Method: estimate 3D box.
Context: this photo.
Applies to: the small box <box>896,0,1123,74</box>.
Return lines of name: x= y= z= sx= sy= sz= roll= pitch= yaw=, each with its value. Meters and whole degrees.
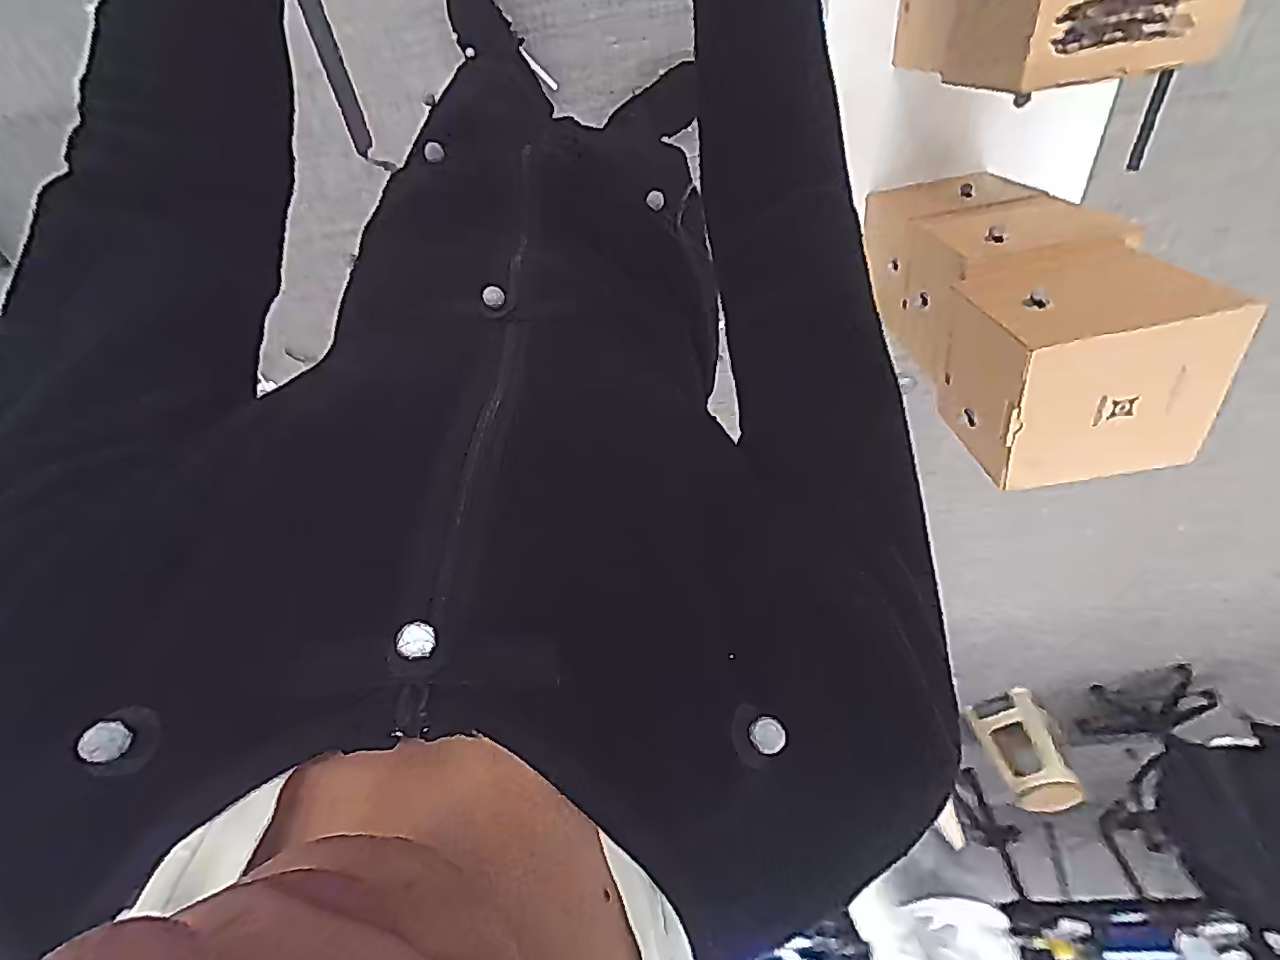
small box: x=0.412 y=-0.571 z=0.606 sx=0.179 sy=0.176 sz=0.168 roll=-6 pitch=130 yaw=5

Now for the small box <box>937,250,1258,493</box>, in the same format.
small box: x=0.431 y=-0.113 z=0.555 sx=0.179 sy=0.176 sz=0.168 roll=-11 pitch=128 yaw=9

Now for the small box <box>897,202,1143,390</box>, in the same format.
small box: x=0.442 y=-0.228 z=0.671 sx=0.179 sy=0.176 sz=0.168 roll=-7 pitch=129 yaw=6

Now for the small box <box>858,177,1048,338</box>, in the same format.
small box: x=0.443 y=-0.332 z=0.800 sx=0.179 sy=0.176 sz=0.168 roll=-8 pitch=128 yaw=7
